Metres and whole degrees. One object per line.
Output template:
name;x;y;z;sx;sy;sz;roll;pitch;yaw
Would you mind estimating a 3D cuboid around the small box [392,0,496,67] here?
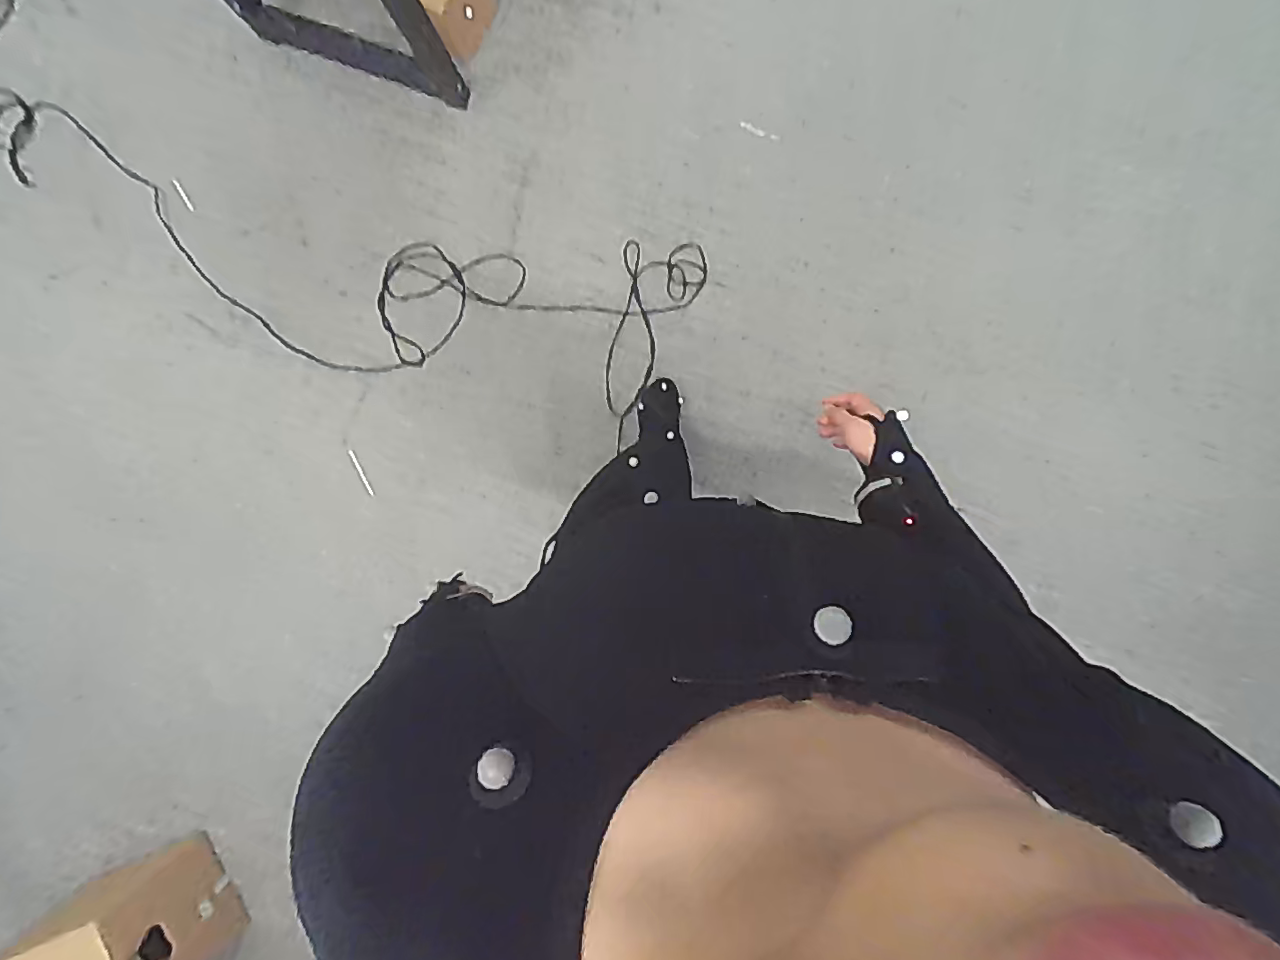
small box;-0.479;-1.176;1.324;0.168;0.176;0.179;33;95;0
